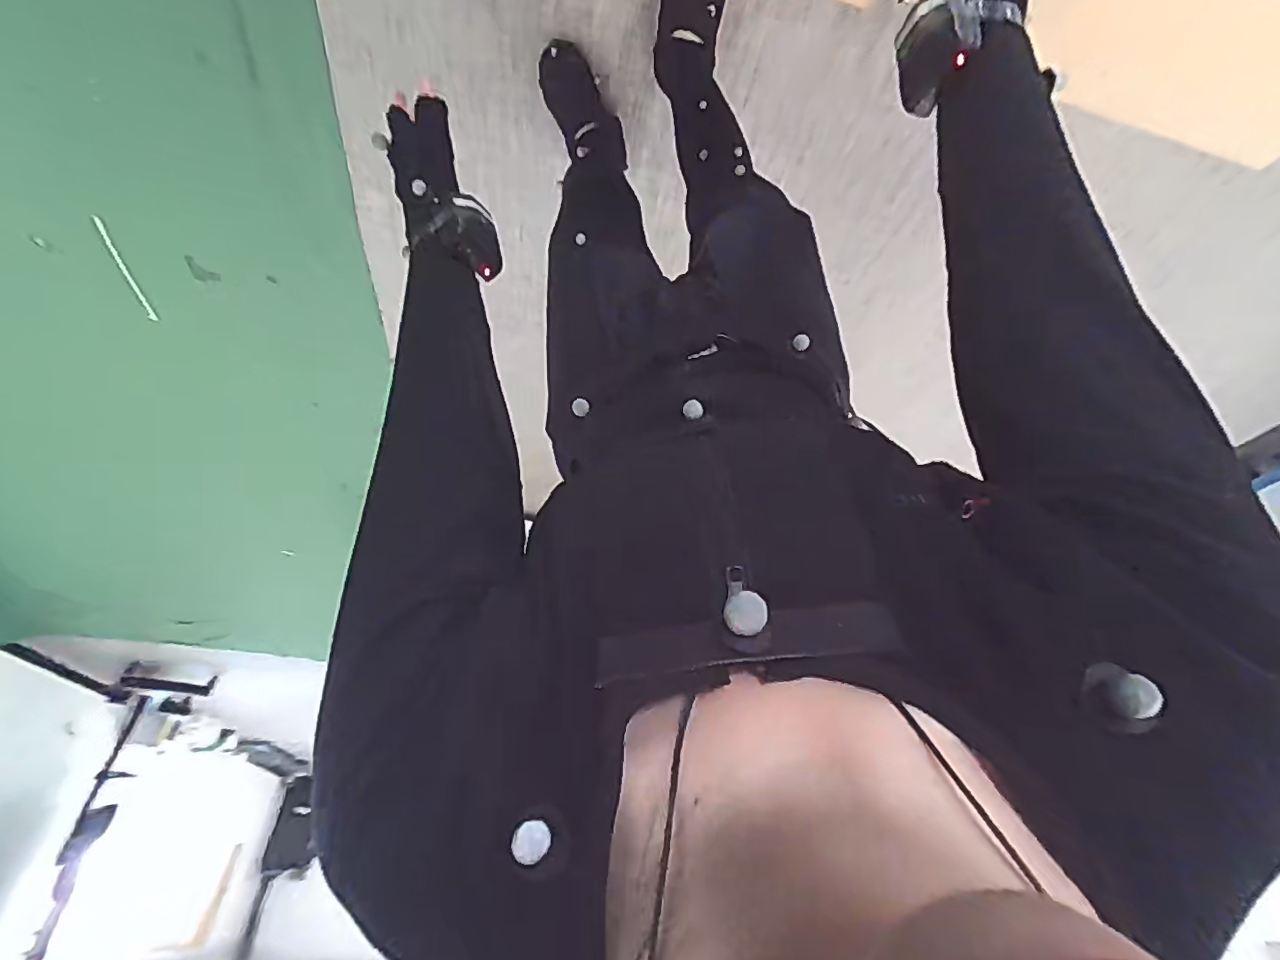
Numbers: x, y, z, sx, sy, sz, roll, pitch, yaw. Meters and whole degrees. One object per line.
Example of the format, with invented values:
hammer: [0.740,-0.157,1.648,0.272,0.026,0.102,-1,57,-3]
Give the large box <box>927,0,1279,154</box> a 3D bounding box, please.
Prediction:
large box: [0.565,-0.607,0.544,0.408,0.320,0.320,10,147,-9]
